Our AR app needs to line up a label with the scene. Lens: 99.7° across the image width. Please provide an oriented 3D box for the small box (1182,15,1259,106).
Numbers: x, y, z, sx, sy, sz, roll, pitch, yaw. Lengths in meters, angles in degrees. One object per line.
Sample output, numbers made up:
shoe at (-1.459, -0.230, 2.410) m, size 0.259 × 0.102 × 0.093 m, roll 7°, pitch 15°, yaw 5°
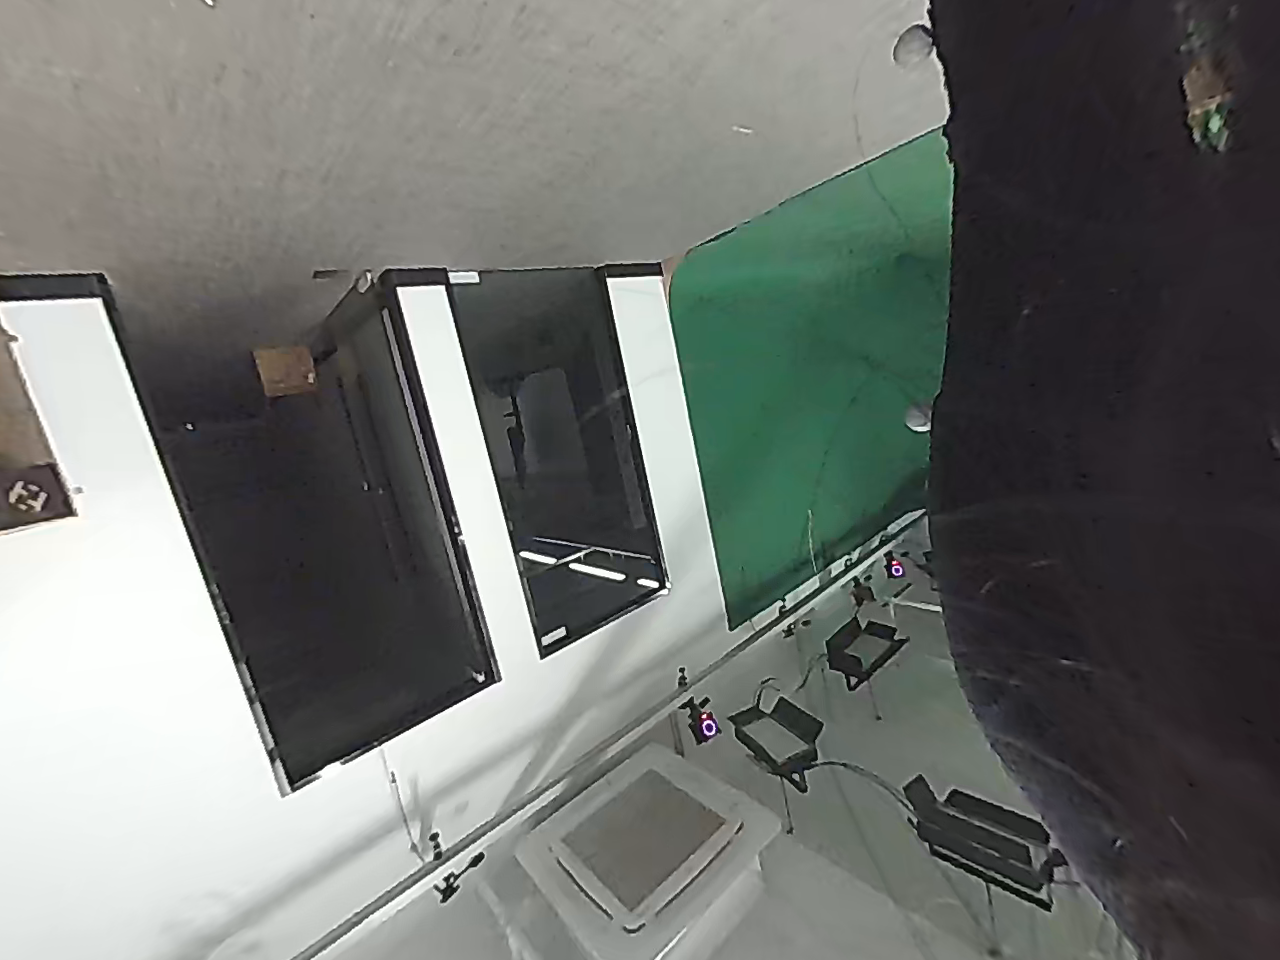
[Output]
small box at (1.992, -1.435, 1.857) m, size 0.168 × 0.176 × 0.179 m, roll -21°, pitch -167°, yaw -40°
